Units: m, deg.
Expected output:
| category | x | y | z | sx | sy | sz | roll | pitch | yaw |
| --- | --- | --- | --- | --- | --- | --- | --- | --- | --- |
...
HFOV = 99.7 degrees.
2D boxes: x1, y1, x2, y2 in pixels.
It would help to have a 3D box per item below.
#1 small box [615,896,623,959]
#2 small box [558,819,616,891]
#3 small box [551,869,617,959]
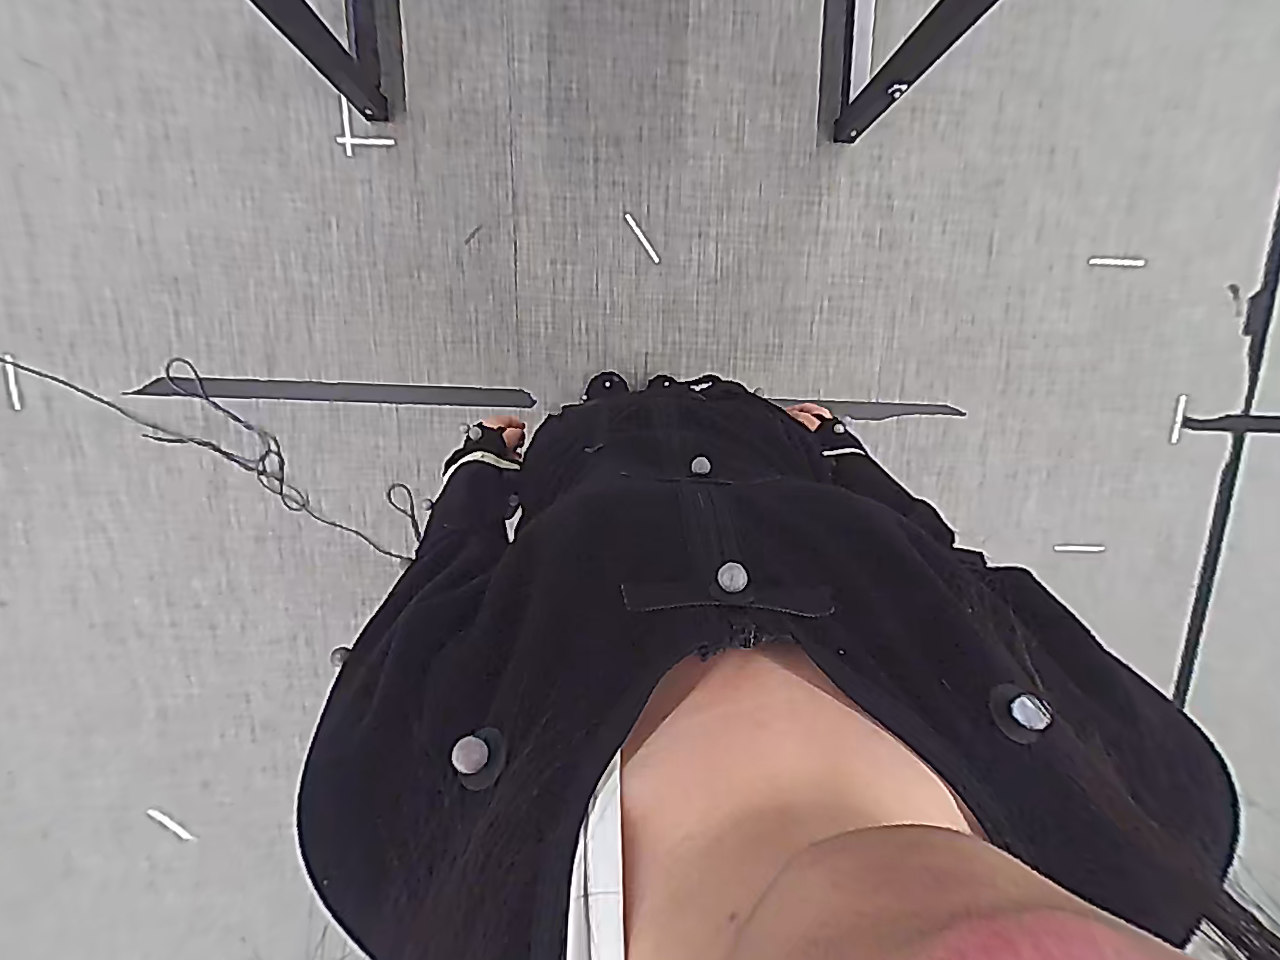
| category | x | y | z | sx | sy | sz | roll | pitch | yaw |
| --- | --- | --- | --- | --- | --- | --- | --- | --- | --- |
| small box | -0.143 | 1.428 | 1.682 | 0.168 | 0.176 | 0.179 | -6 | 101 | -2 |
| small box | -0.156 | 1.153 | 1.627 | 0.168 | 0.176 | 0.179 | -1 | 102 | -2 |
| small box | -0.151 | 1.197 | 1.468 | 0.168 | 0.176 | 0.179 | 2 | 102 | -3 |
